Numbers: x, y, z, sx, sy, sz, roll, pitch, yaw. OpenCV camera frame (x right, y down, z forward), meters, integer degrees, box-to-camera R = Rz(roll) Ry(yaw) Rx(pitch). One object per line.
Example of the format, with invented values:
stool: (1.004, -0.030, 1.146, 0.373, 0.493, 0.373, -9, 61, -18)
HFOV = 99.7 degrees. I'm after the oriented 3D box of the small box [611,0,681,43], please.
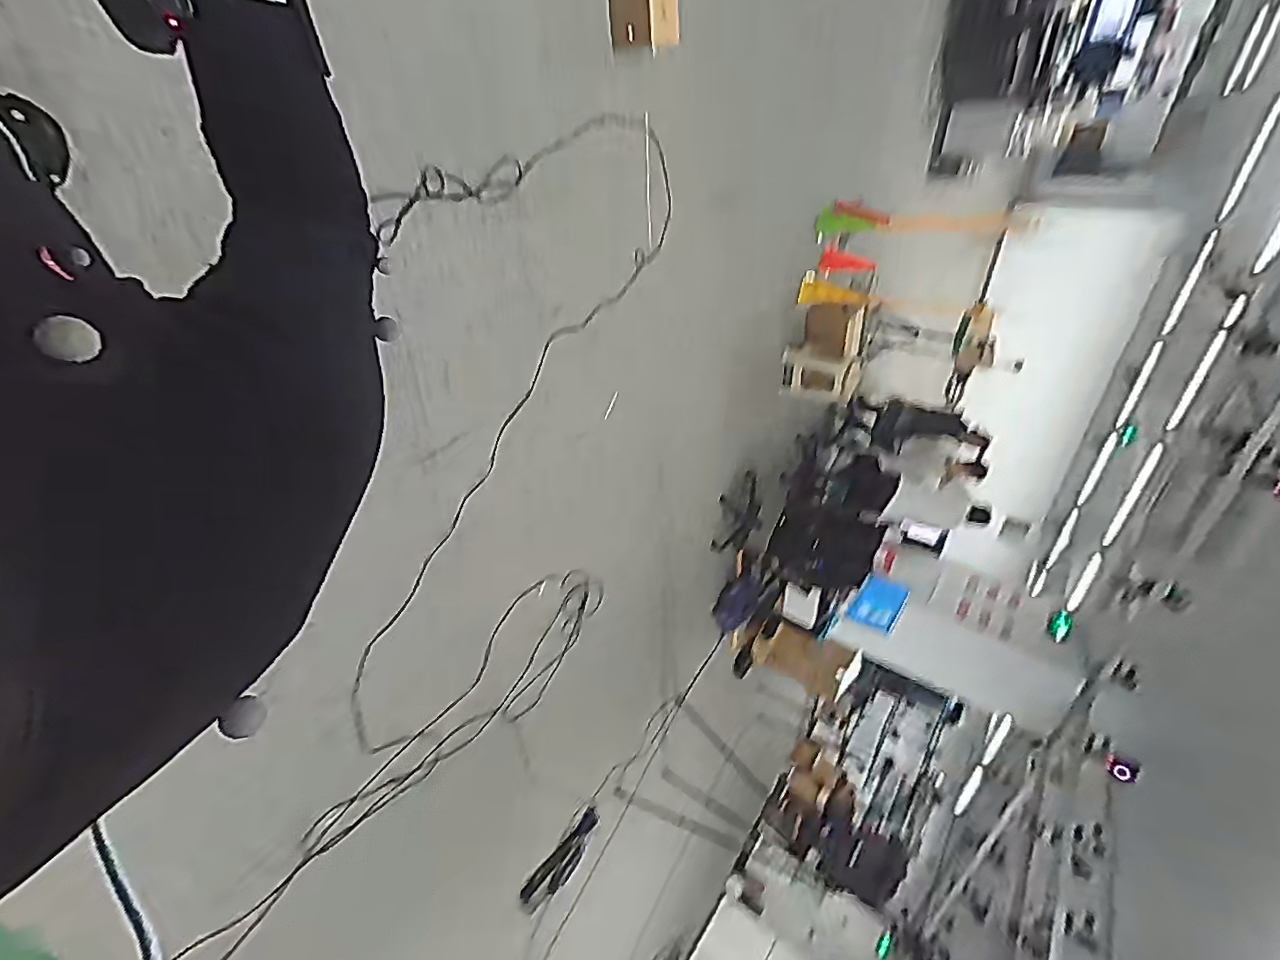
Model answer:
small box: (0.016, -1.556, 1.776, 0.168, 0.176, 0.179, -41, 138, -37)
